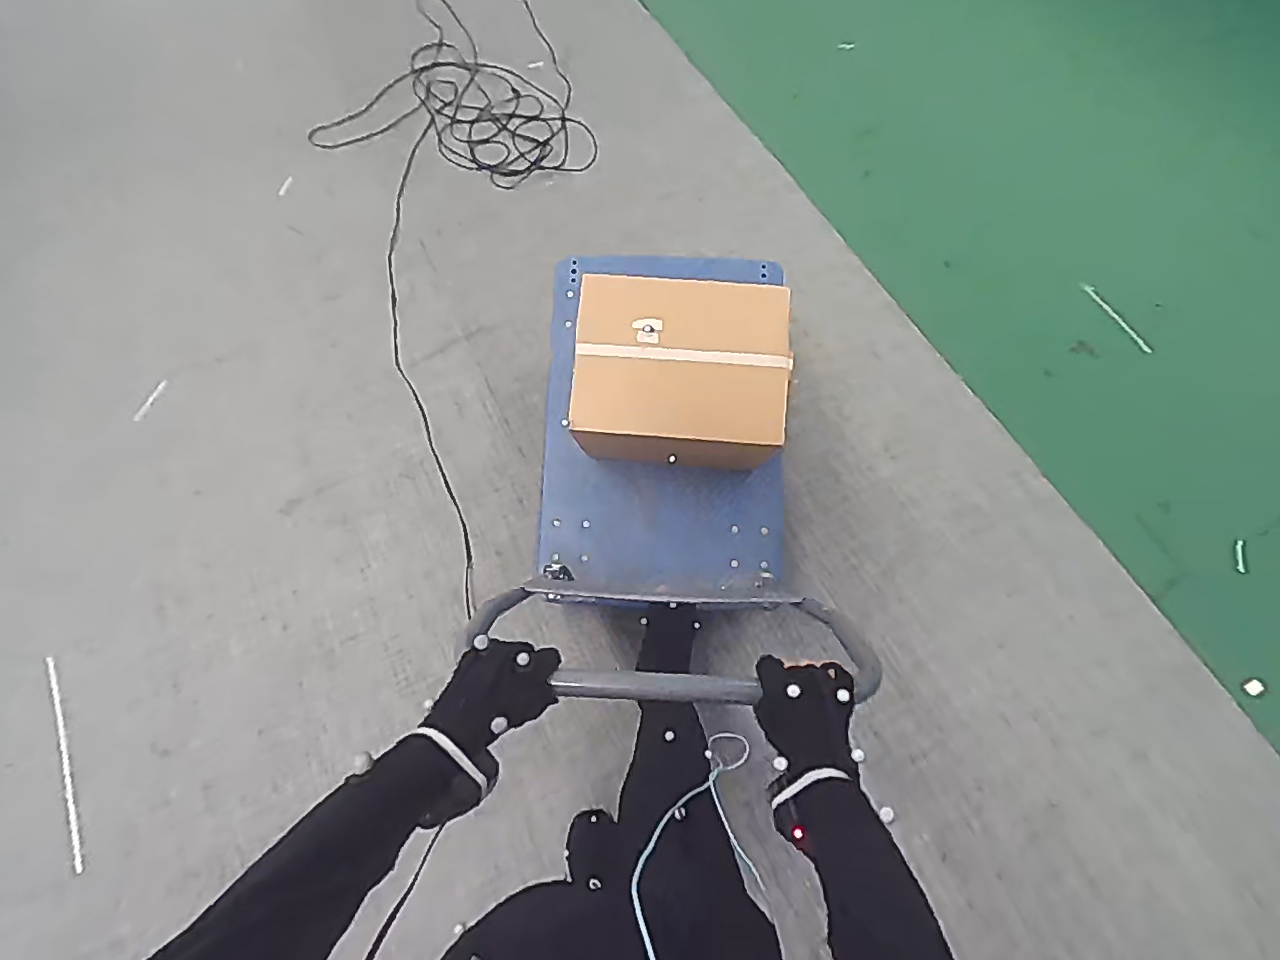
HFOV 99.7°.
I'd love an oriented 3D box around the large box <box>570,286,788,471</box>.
[{"bbox_3d":[0.085,-0.198,1.171,0.408,0.320,0.320,5,82,3],"label":"large box"}]
